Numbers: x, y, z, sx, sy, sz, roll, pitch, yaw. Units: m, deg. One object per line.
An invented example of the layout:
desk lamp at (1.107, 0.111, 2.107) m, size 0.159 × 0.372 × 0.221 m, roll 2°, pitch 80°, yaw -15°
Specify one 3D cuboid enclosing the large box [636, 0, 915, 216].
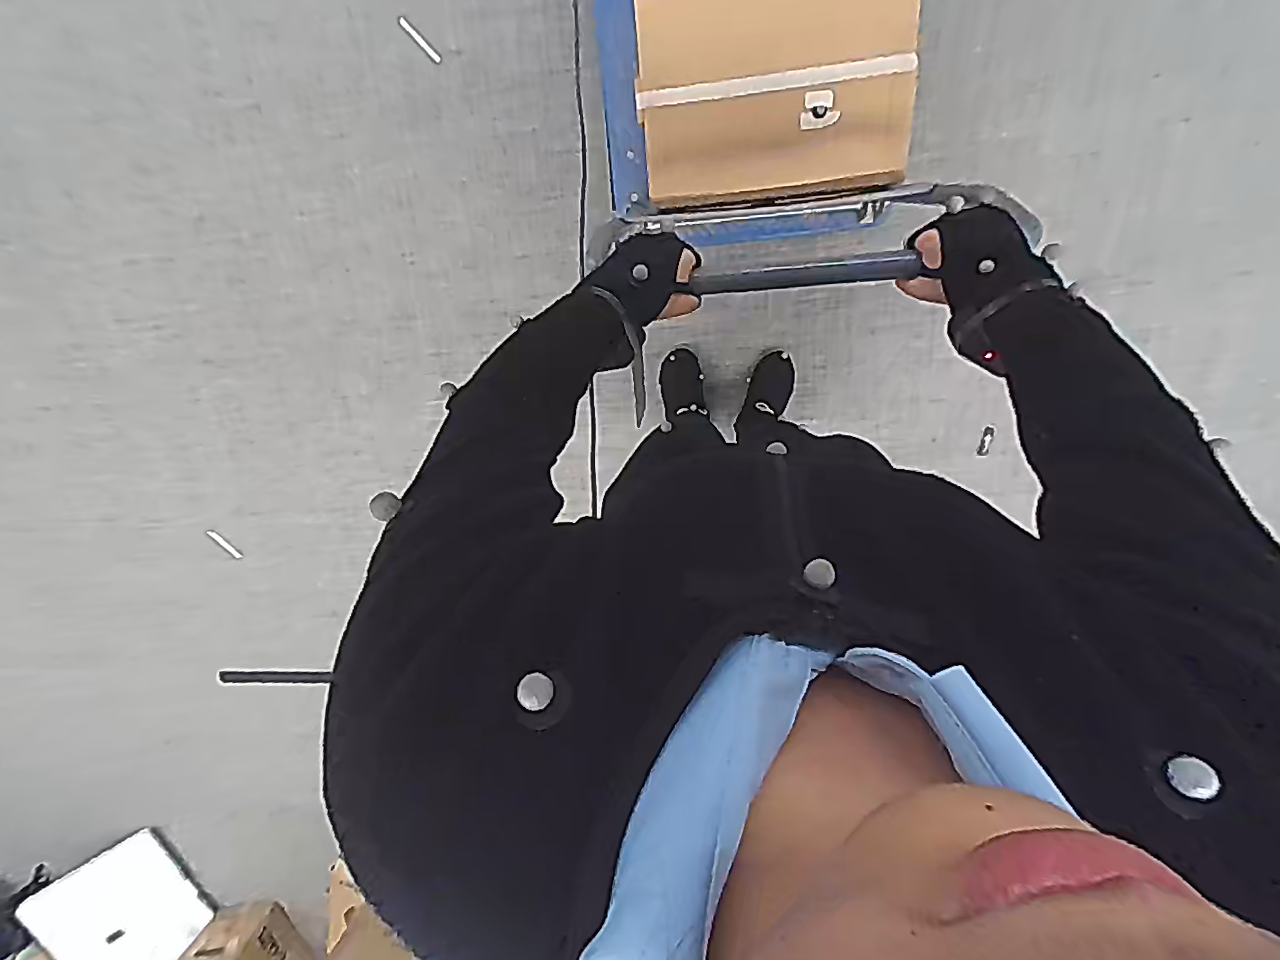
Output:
large box at (0.217, -0.669, 0.964) m, size 0.408 × 0.320 × 0.320 m, roll -3°, pitch 115°, yaw 7°
